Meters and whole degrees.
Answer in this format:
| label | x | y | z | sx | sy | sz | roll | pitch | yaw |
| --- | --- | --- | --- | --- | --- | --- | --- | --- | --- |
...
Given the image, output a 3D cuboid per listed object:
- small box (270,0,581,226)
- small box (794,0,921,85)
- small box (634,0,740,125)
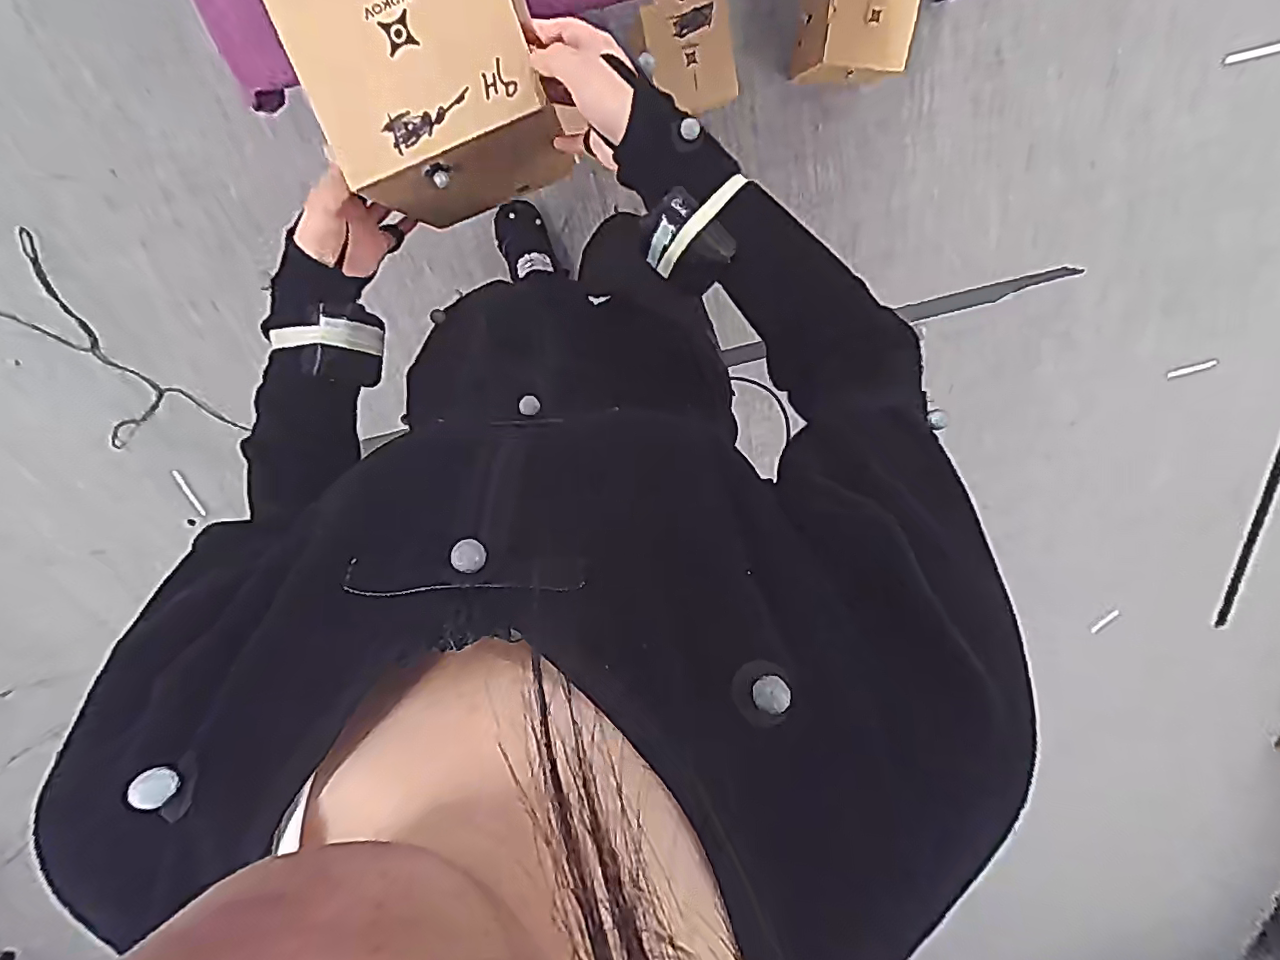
| label | x | y | z | sx | sy | sz | roll | pitch | yaw |
| --- | --- | --- | --- | --- | --- | --- | --- | --- | --- |
| small box | -0.163 | -0.341 | 0.450 | 0.168 | 0.176 | 0.179 | -19 | 103 | 8 |
| small box | 0.438 | -0.923 | 1.097 | 0.179 | 0.176 | 0.168 | 1 | 117 | -7 |
| small box | 0.090 | -0.845 | 1.089 | 0.168 | 0.176 | 0.179 | -15 | 118 | 1 |
